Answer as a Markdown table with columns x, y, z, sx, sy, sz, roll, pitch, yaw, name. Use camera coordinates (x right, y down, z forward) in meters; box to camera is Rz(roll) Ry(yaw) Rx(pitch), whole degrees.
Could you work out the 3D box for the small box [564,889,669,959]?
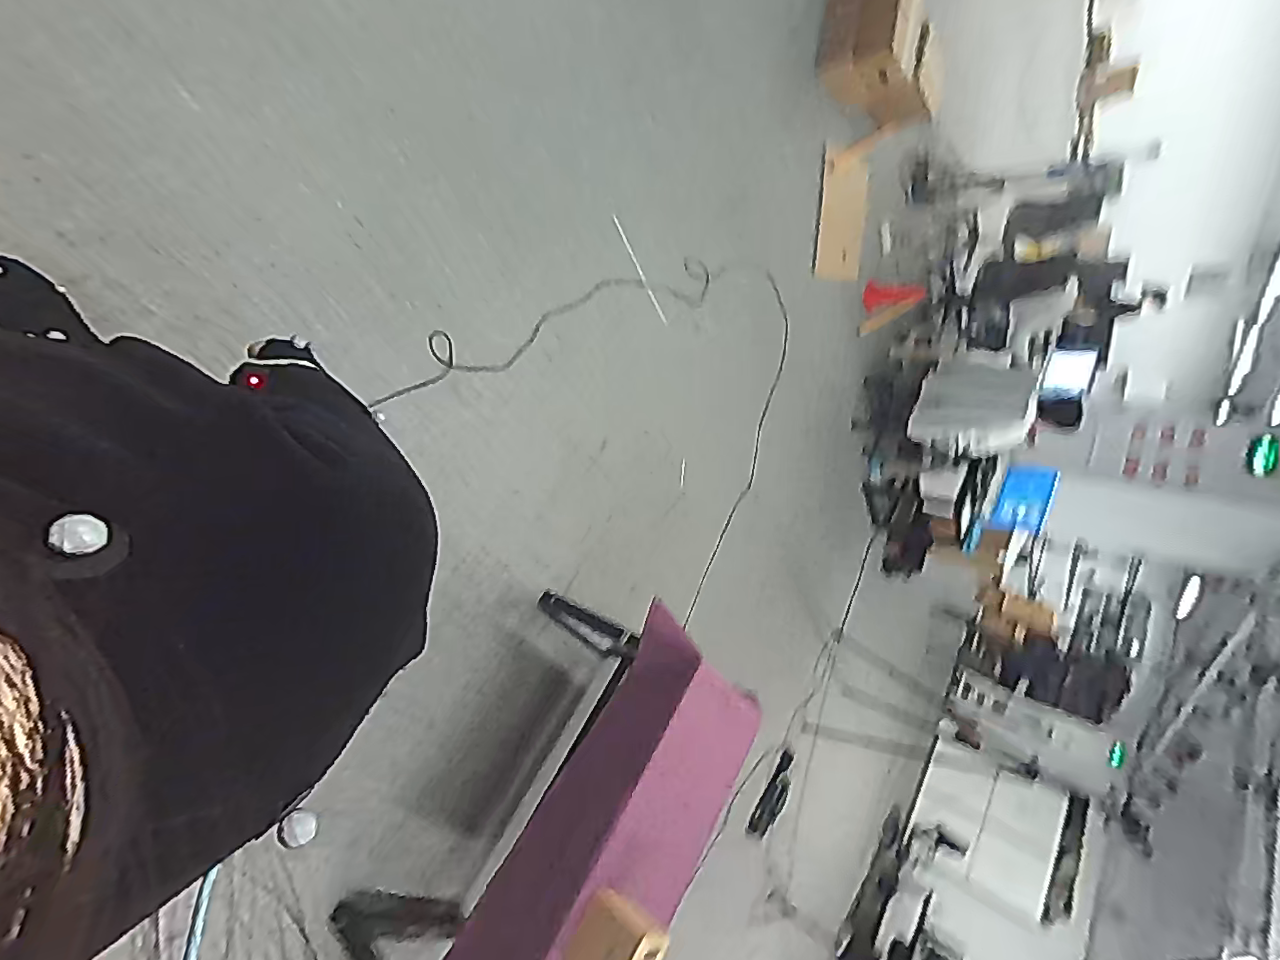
| x | y | z | sx | sy | sz | roll | pitch | yaw | name |
| --- | --- | --- | --- | --- | --- | --- | --- | --- | --- |
| -0.062 | 1.179 | 1.365 | 0.179 | 0.176 | 0.168 | -56 | 135 | -21 | small box |
